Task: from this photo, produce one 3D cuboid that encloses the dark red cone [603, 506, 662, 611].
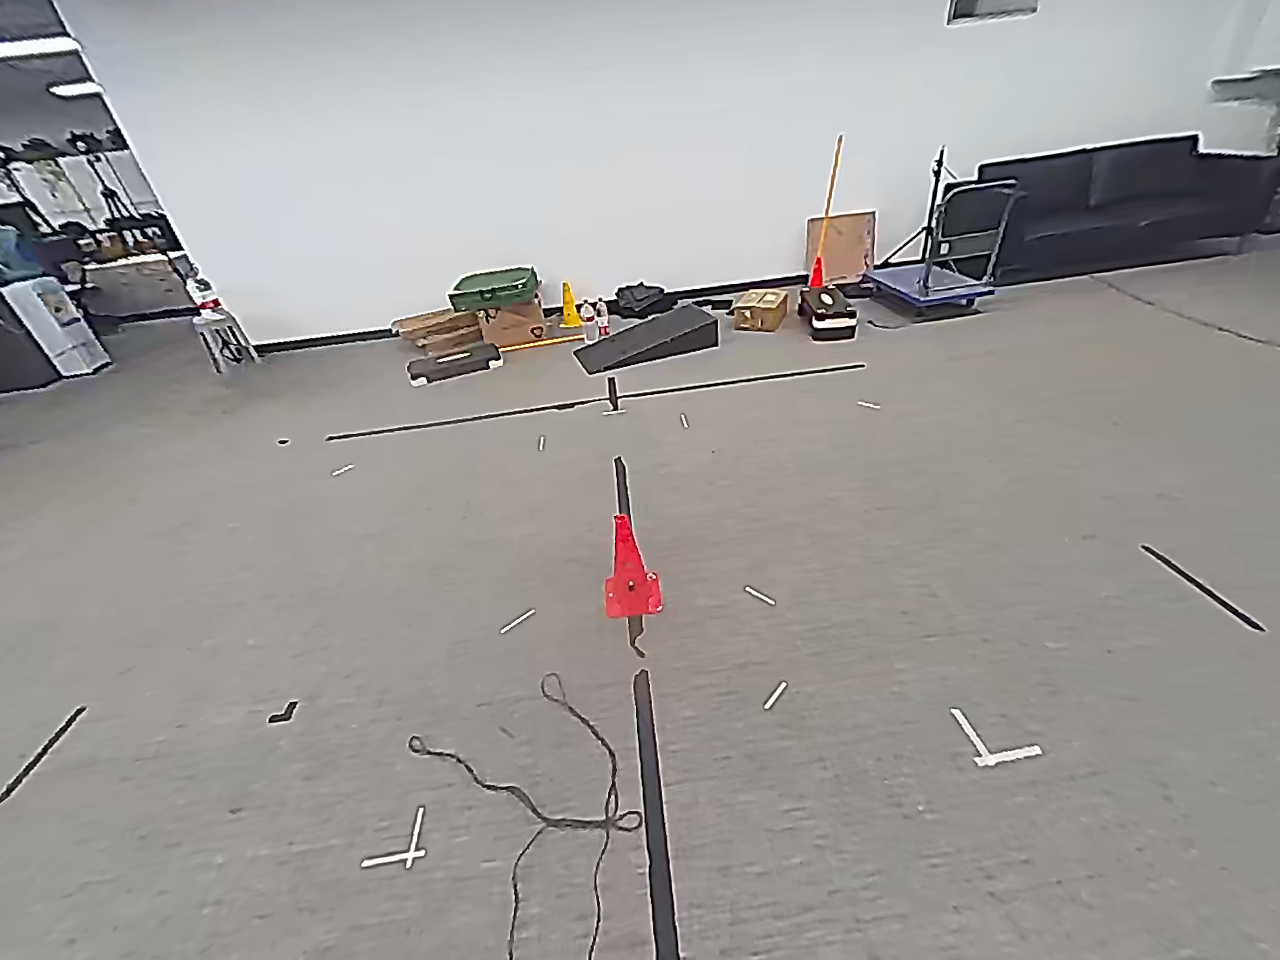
[{"bbox_3d":[-0.048,0.253,1.853,0.201,0.394,0.202,-9,34,-1],"label":"dark red cone"}]
